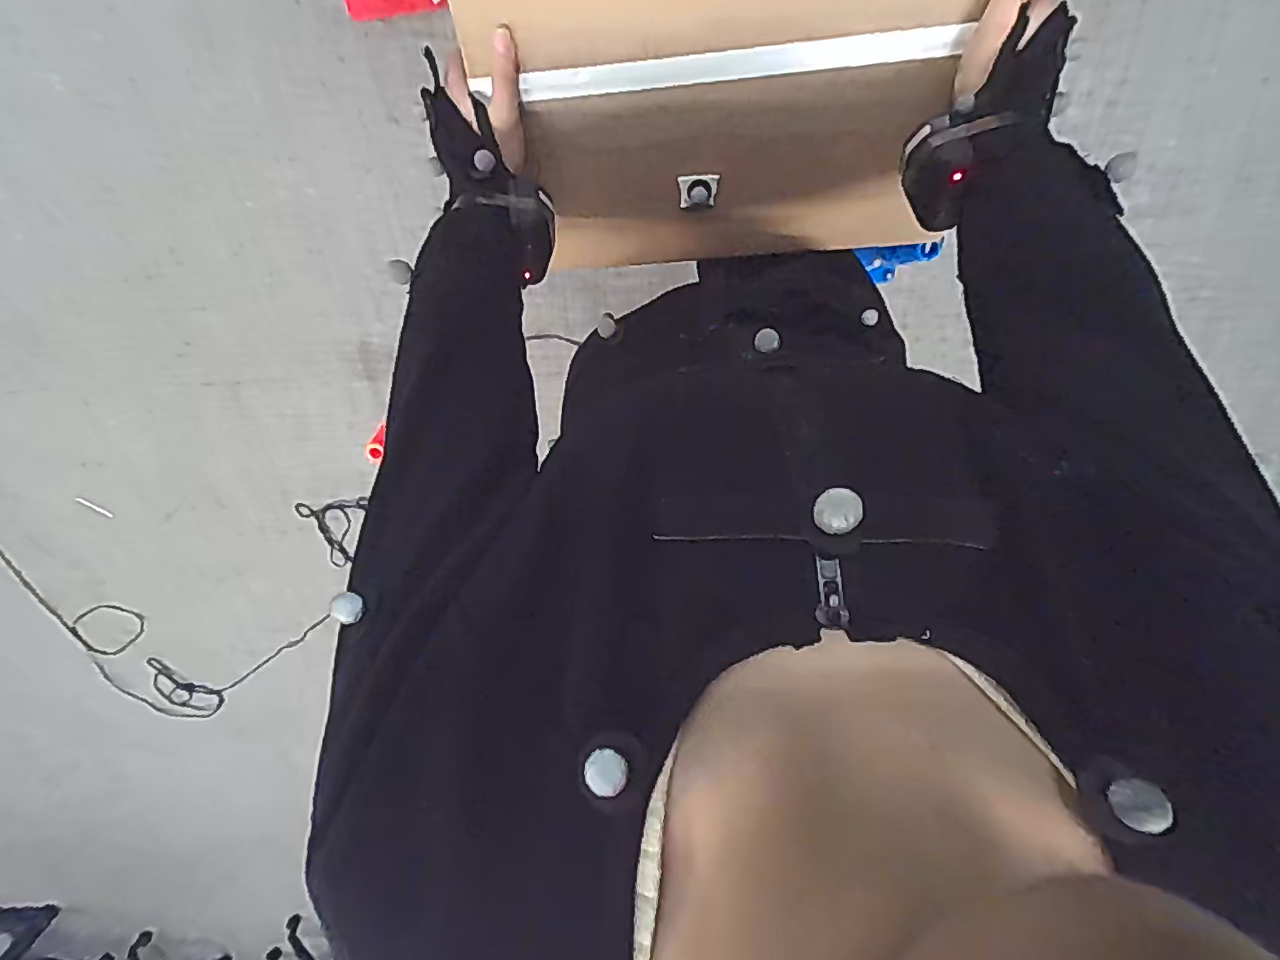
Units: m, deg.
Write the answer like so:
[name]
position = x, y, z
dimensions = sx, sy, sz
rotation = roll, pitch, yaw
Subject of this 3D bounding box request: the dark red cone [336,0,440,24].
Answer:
[dark red cone]
position = -0.461, -0.860, 0.780
dimensions = 0.202, 0.394, 0.201
rotation = -7, 112, 5

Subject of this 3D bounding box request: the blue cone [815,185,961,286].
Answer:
[blue cone]
position = 0.466, -0.439, 0.991
dimensions = 0.192, 0.380, 0.193
rotation = -1, 116, 2
